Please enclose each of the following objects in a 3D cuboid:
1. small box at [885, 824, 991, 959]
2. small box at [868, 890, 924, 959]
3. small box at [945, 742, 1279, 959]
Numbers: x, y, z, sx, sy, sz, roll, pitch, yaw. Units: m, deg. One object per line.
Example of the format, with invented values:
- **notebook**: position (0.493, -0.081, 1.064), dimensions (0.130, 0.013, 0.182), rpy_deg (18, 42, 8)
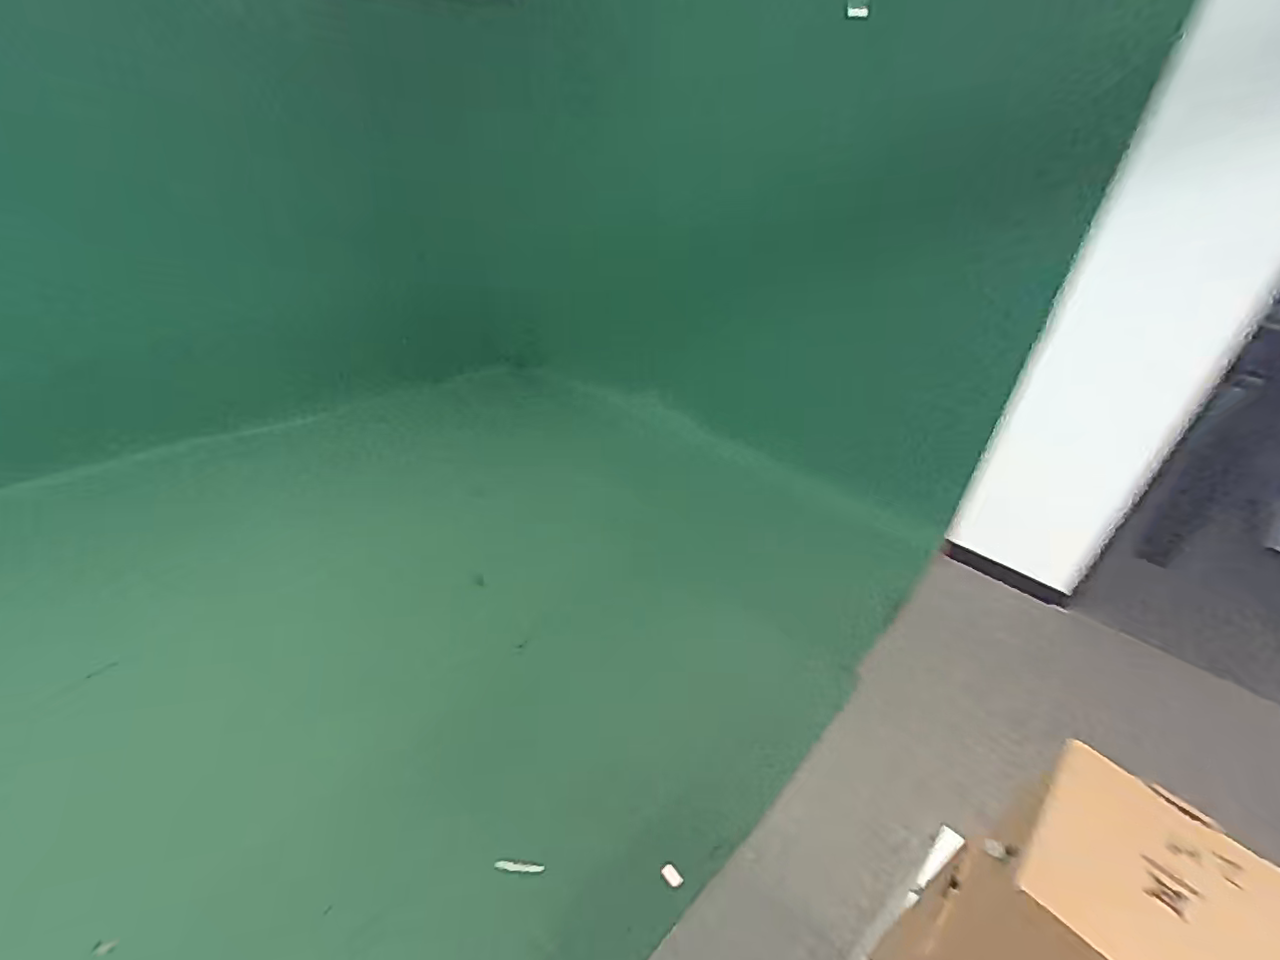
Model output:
- **small box**: position (0.366, 0.506, 0.539), dimensions (0.168, 0.176, 0.179), rpy_deg (-25, 45, -37)
- **small box**: position (0.350, 0.645, 0.628), dimensions (0.168, 0.176, 0.179), rpy_deg (-25, 45, -36)
- **small box**: position (0.386, 0.371, 0.446), dimensions (0.179, 0.176, 0.168), rpy_deg (-24, 45, -37)
